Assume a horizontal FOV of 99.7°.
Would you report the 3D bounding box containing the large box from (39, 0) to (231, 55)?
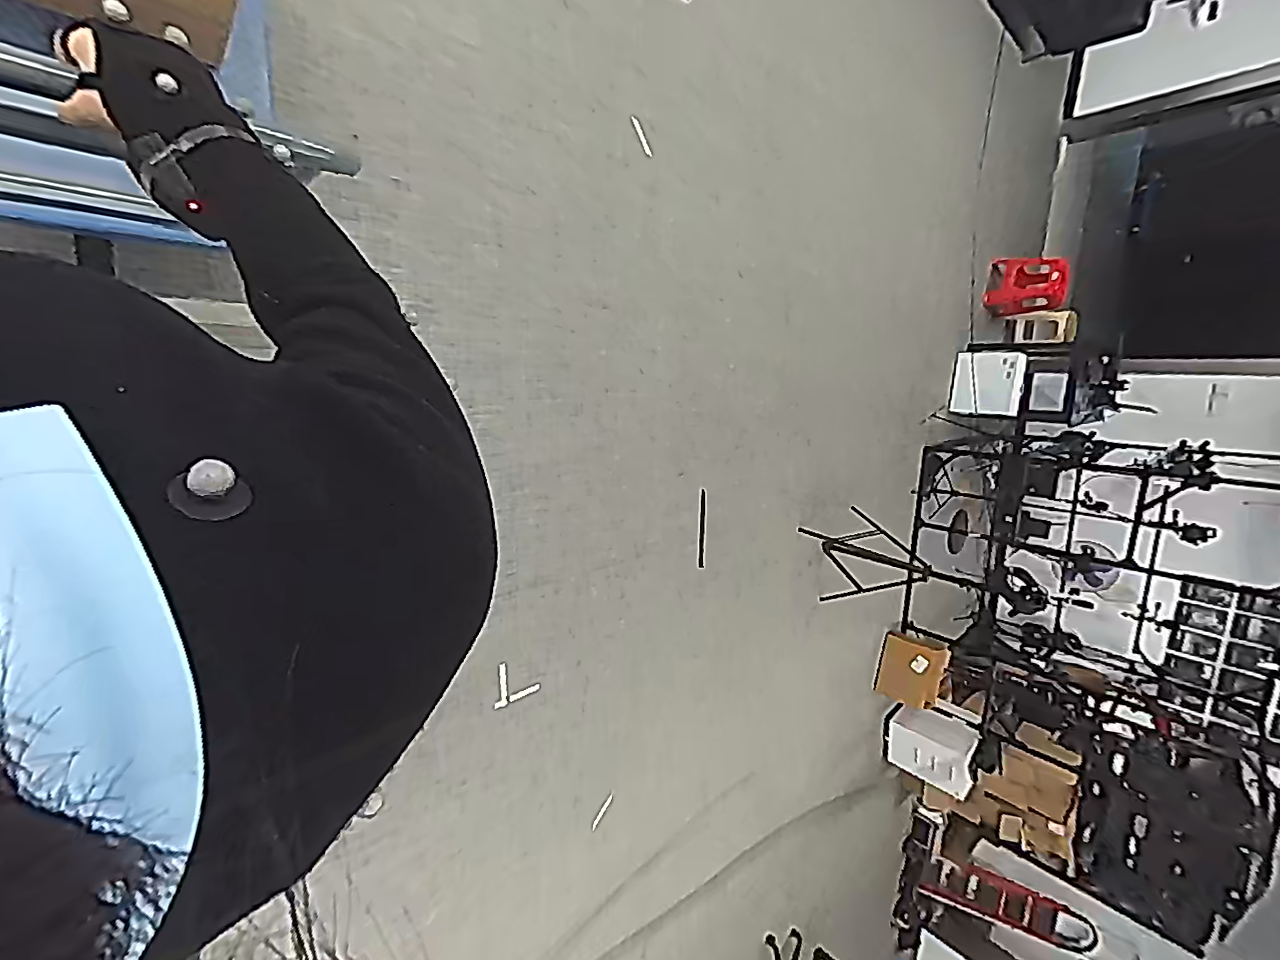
[{"bbox_3d":[-0.818,-0.874,0.723,0.408,0.320,0.320,-7,103,-41],"label":"large box"}]
